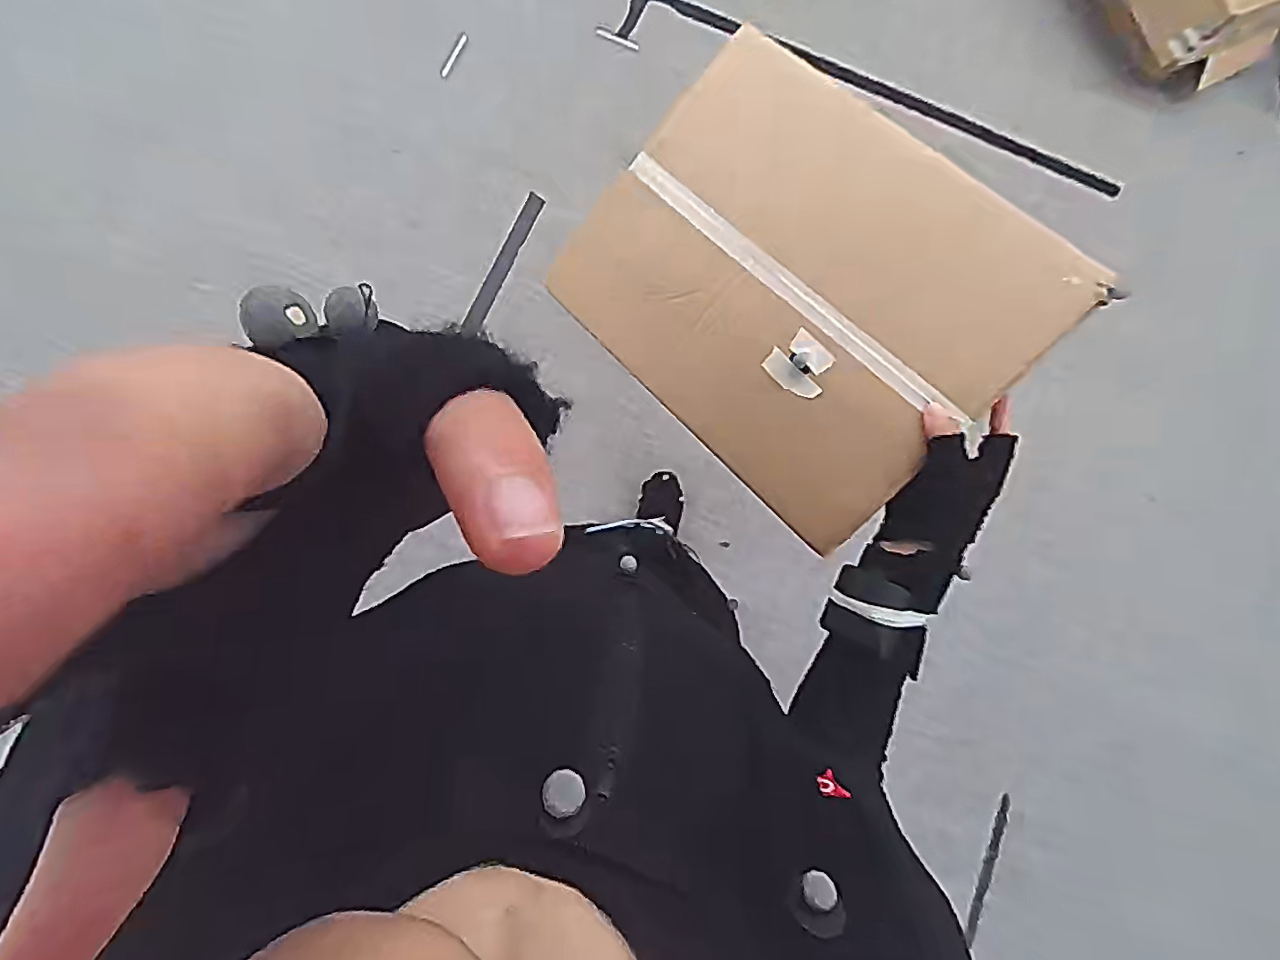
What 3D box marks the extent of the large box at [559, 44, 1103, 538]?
[{"bbox_3d":[0.188,-0.186,0.655,0.408,0.320,0.320,47,104,14],"label":"large box"}]
